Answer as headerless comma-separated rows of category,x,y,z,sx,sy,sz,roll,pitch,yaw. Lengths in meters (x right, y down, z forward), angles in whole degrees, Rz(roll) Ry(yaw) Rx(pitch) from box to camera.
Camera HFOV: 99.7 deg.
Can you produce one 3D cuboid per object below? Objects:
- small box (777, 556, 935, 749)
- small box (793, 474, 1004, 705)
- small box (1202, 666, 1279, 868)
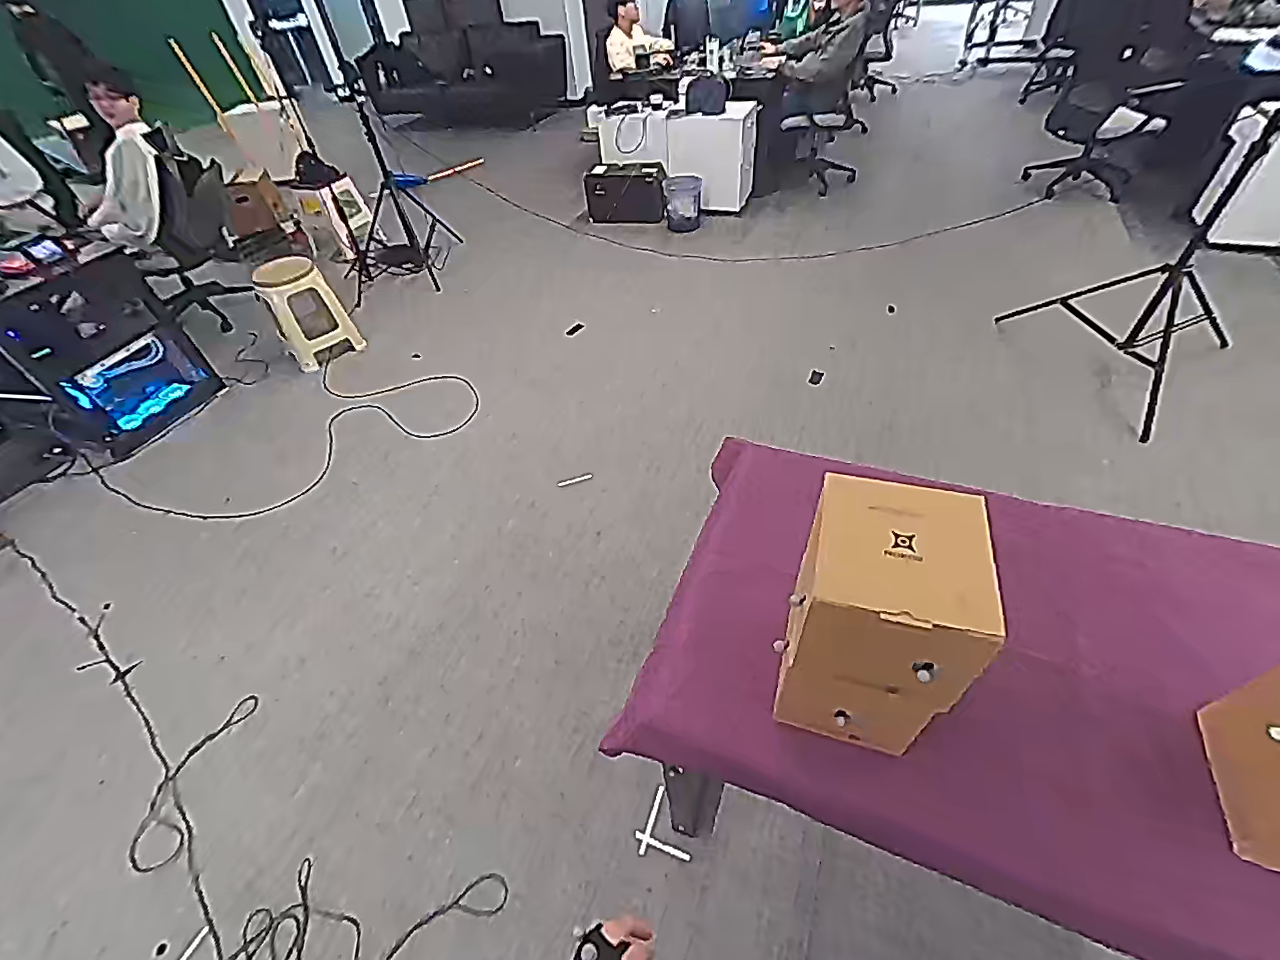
small box,0.282,0.229,0.723,0.168,0.176,0.179,11,47,15
small box,0.270,0.122,0.601,0.168,0.176,0.179,10,47,14
small box,0.771,0.330,0.577,0.168,0.176,0.179,13,48,19
